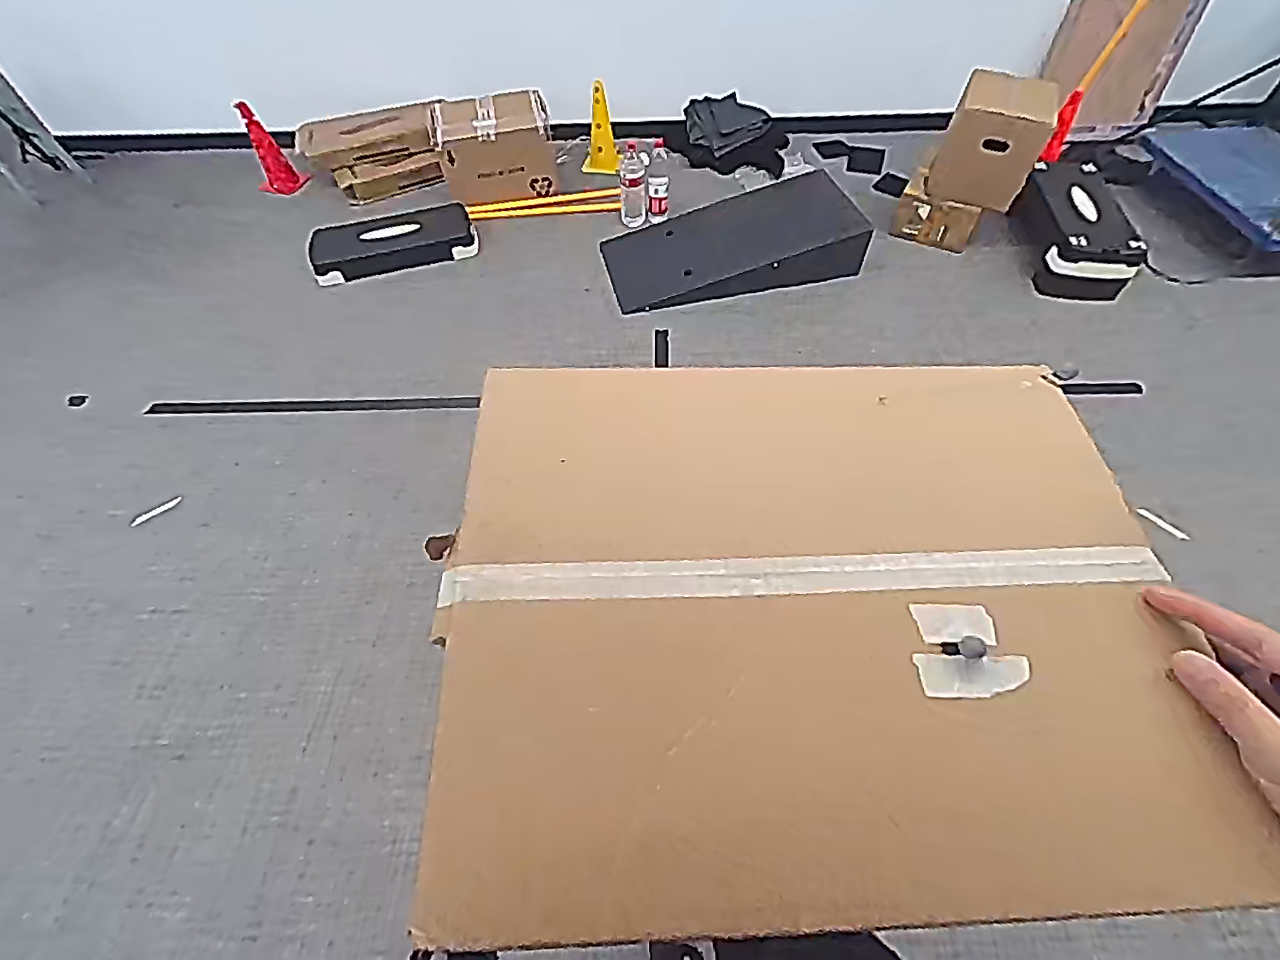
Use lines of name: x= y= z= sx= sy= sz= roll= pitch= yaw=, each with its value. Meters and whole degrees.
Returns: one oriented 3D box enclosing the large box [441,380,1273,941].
large box: x=0.093 y=0.136 z=0.448 sx=0.408 sy=0.320 sz=0.320 roll=-1 pitch=60 yaw=-4
